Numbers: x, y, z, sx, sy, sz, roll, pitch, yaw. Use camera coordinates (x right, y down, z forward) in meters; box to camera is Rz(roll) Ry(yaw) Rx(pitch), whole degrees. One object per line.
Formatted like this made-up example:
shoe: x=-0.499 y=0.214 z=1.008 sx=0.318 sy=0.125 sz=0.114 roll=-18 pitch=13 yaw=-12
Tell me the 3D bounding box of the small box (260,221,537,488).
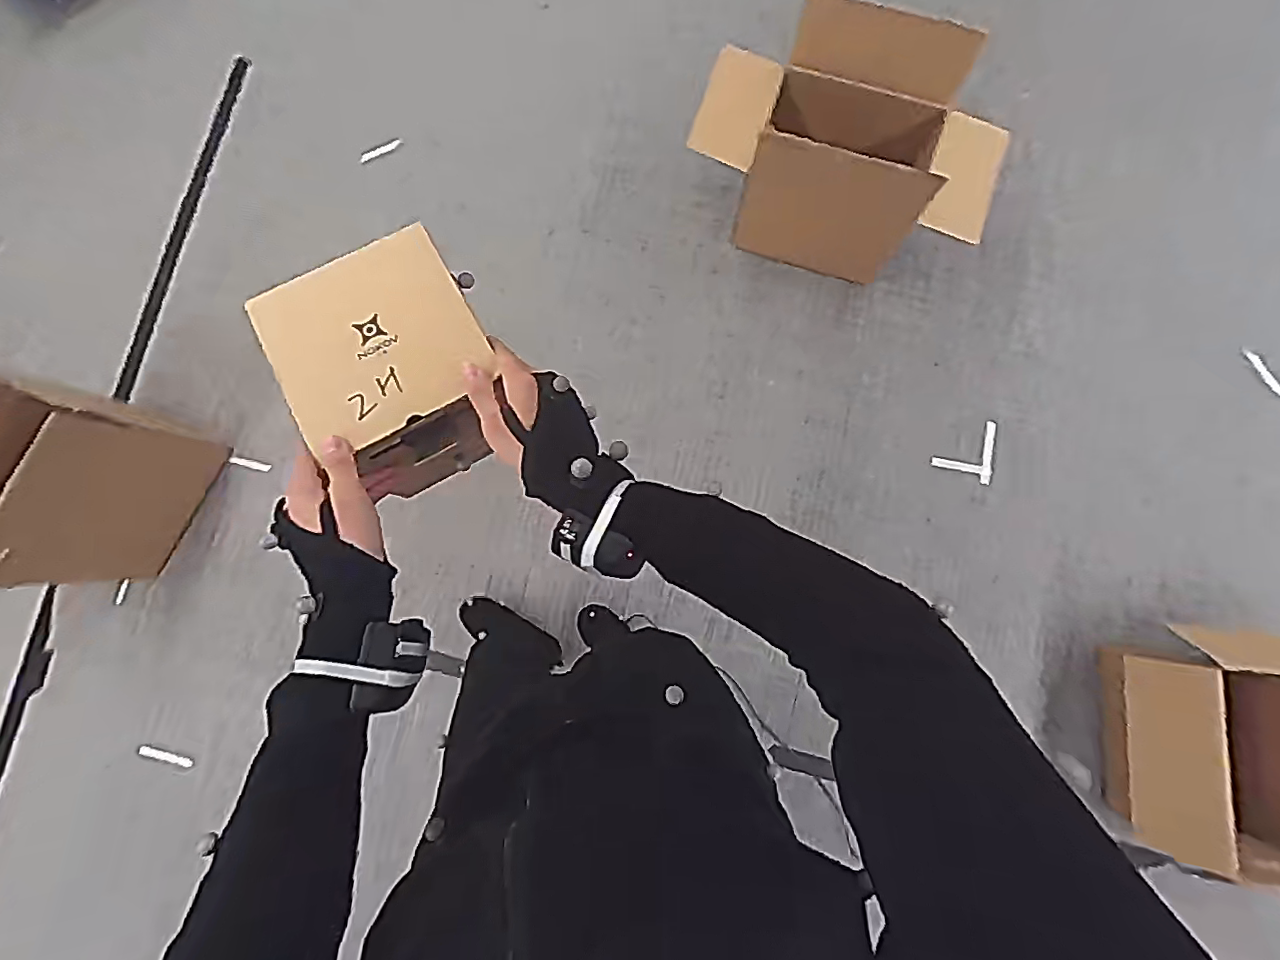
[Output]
small box: x=-0.219 y=-0.108 z=0.540 sx=0.168 sy=0.176 sz=0.179 roll=-28 pitch=85 yaw=-7
